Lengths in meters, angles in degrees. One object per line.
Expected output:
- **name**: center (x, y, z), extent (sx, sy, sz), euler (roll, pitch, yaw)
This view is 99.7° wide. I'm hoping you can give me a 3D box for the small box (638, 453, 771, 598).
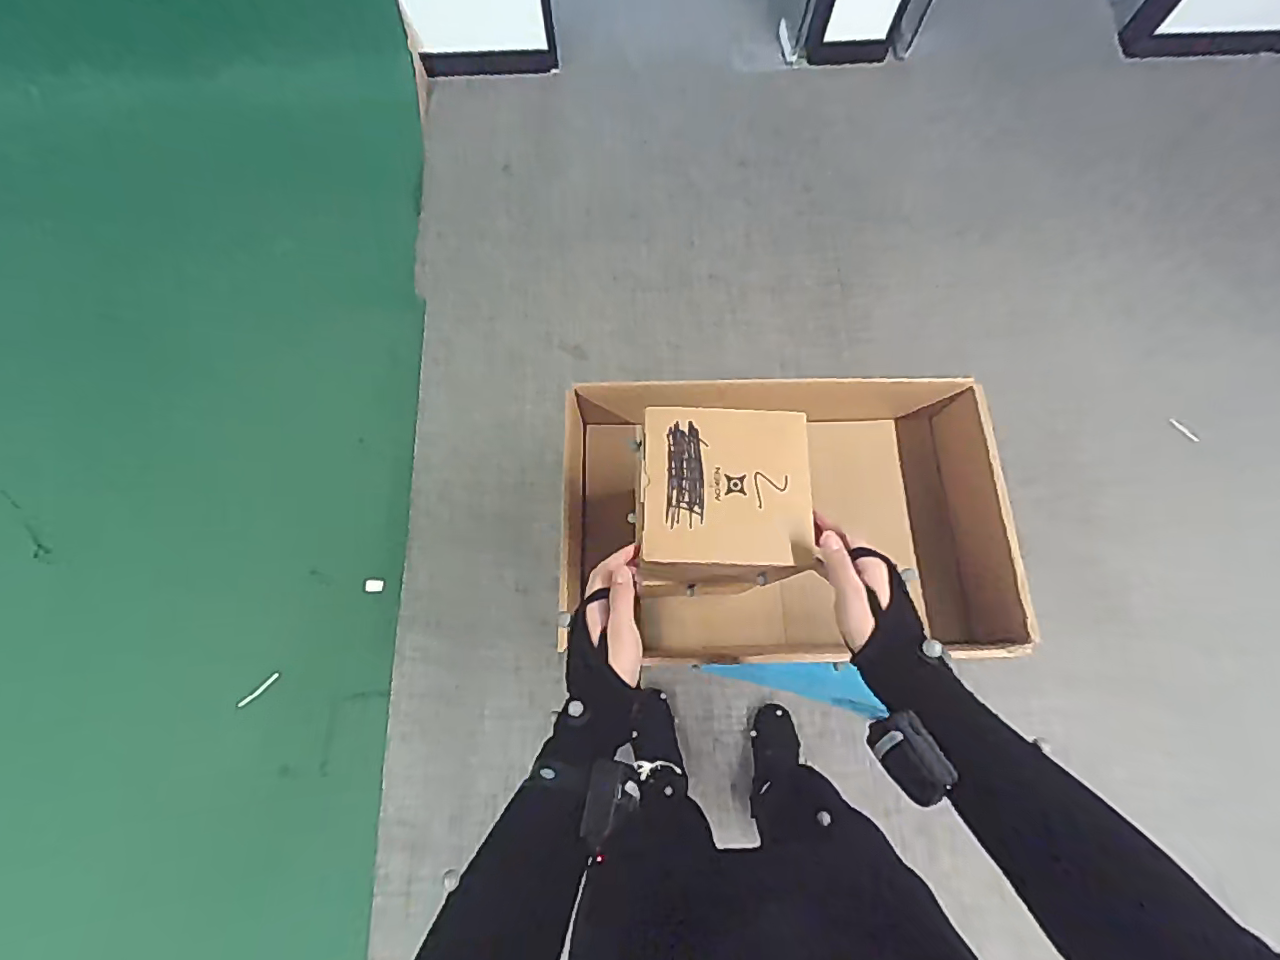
- **small box**: center (0.082, 0.072, 0.785), extent (0.168, 0.176, 0.179), euler (-2, 72, -1)
